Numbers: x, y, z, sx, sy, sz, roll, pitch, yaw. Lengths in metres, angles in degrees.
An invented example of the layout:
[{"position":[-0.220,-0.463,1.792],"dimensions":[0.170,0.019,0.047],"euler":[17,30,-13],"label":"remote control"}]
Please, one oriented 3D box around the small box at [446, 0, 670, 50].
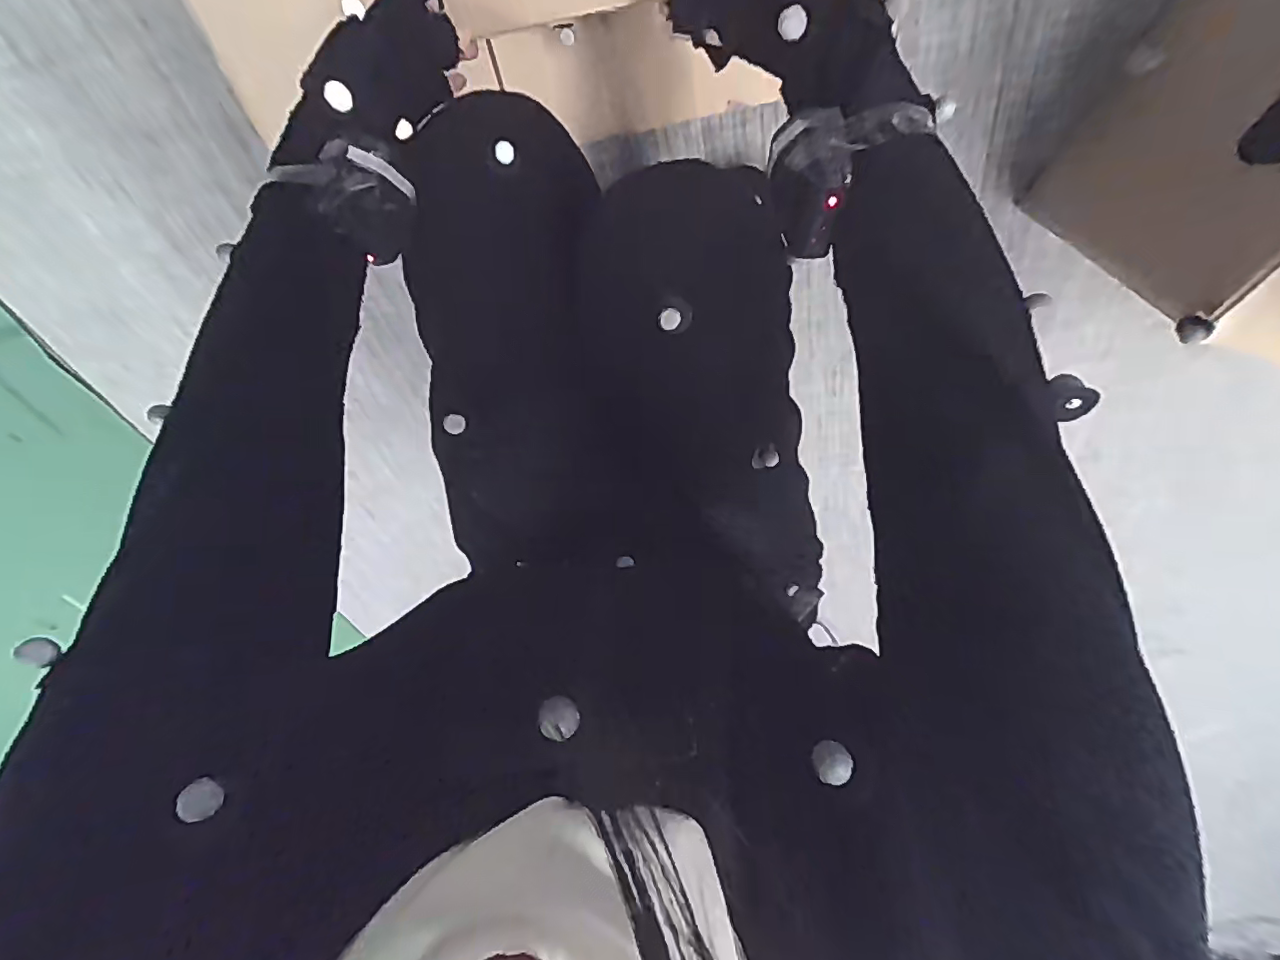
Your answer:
[{"position":[-0.072,-0.456,0.415],"dimensions":[0.168,0.176,0.179],"euler":[-7,130,7],"label":"small box"}]
